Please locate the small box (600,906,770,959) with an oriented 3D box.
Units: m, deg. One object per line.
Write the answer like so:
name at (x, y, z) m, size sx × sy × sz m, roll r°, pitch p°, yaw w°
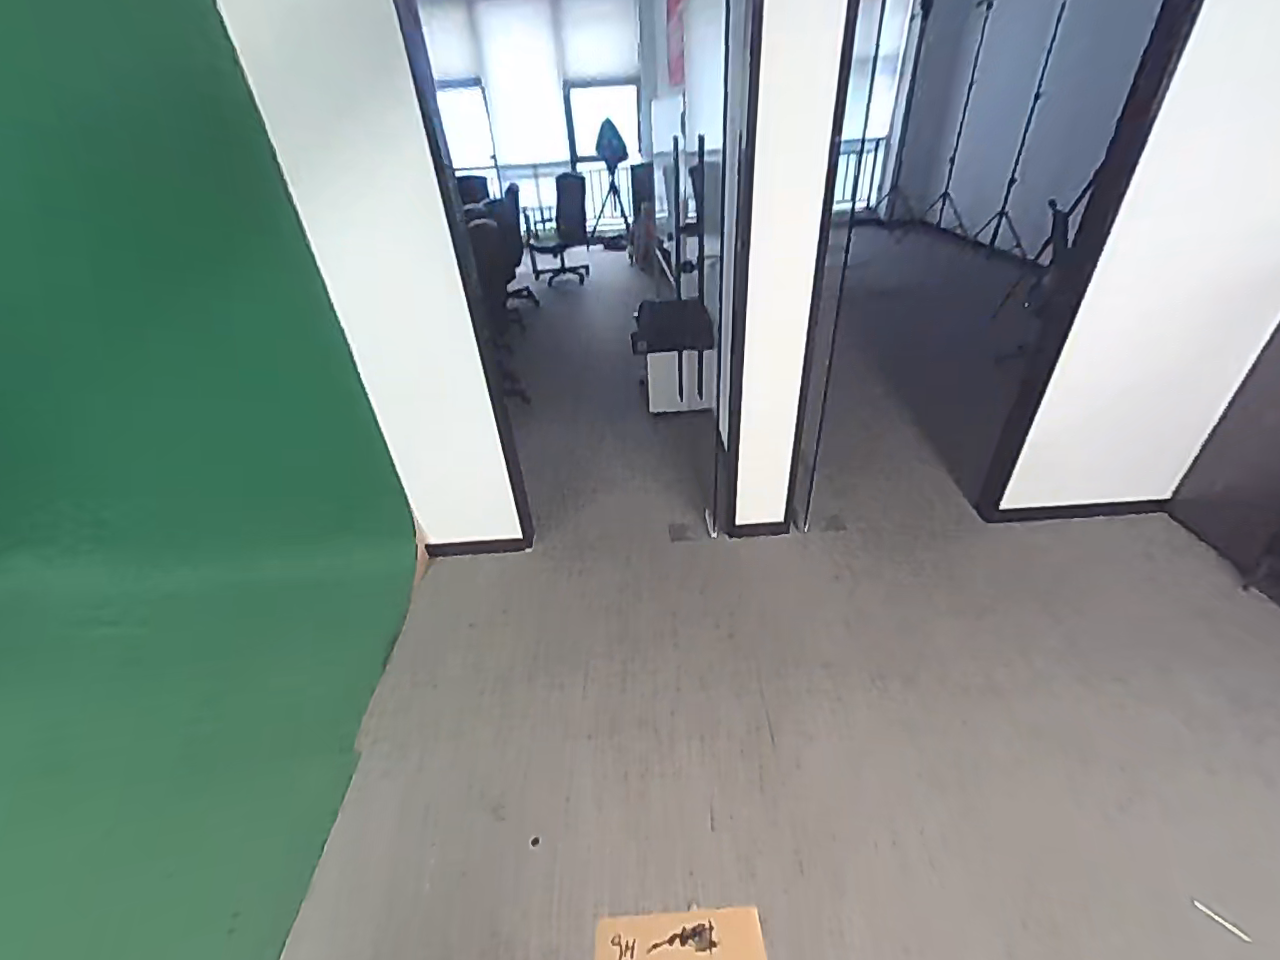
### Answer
small box at (0.052, 0.550, 0.518) m, size 0.168 × 0.176 × 0.179 m, roll -5°, pitch 33°, yaw 1°
